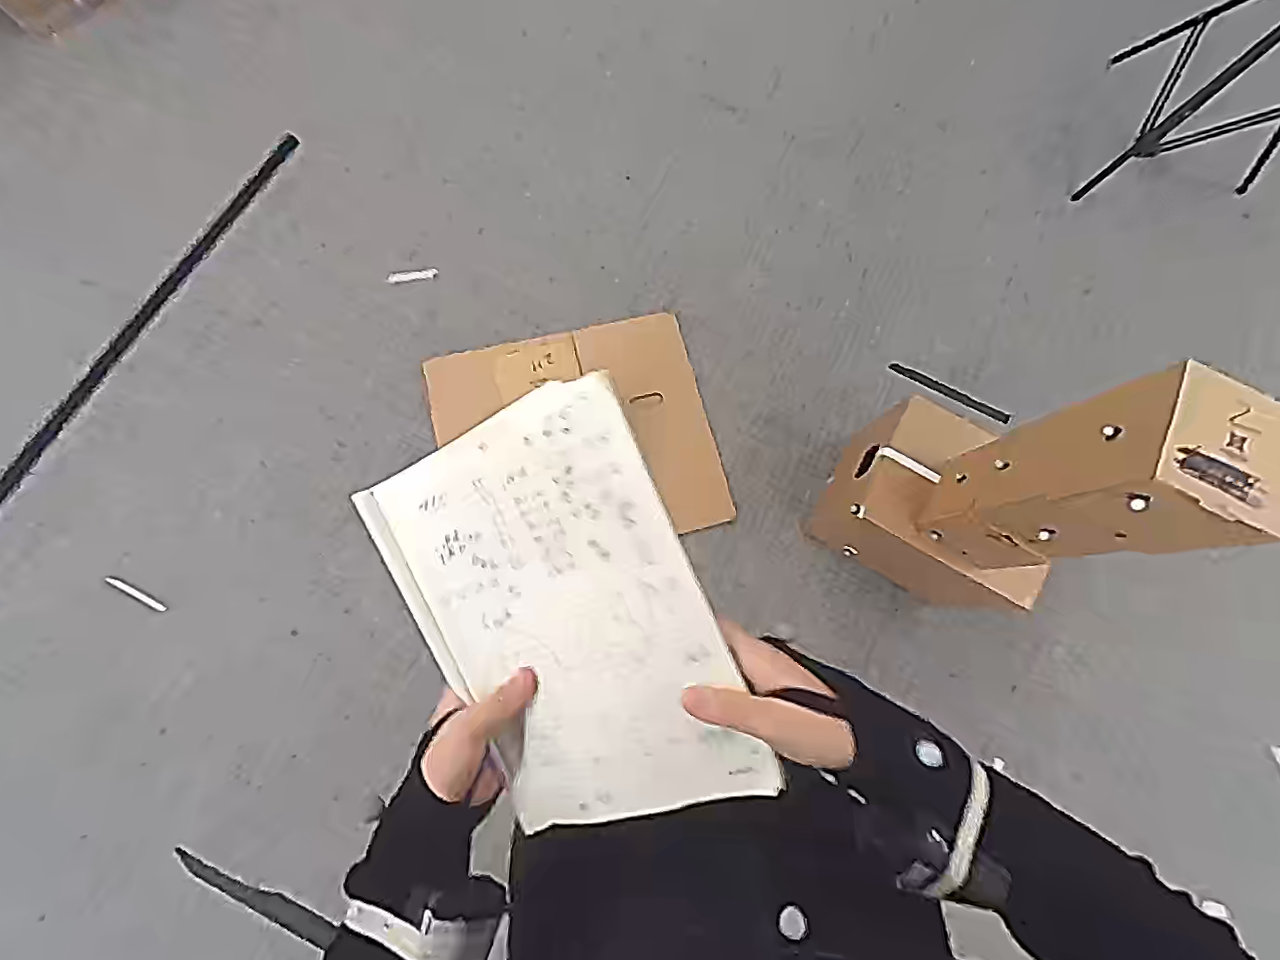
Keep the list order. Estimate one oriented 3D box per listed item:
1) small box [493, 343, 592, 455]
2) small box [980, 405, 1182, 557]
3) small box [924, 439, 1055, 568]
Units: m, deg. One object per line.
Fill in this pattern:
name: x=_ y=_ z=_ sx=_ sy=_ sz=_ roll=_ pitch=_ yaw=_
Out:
small box: x=-0.202 y=-0.163 z=1.160 sx=0.168 sy=0.176 sz=0.179 roll=-16 pitch=79 yaw=-9
small box: x=0.698 y=0.012 z=0.878 sx=0.168 sy=0.176 sz=0.179 roll=30 pitch=79 yaw=2
small box: x=0.682 y=0.055 z=1.036 sx=0.168 sy=0.176 sz=0.179 roll=32 pitch=77 yaw=3
